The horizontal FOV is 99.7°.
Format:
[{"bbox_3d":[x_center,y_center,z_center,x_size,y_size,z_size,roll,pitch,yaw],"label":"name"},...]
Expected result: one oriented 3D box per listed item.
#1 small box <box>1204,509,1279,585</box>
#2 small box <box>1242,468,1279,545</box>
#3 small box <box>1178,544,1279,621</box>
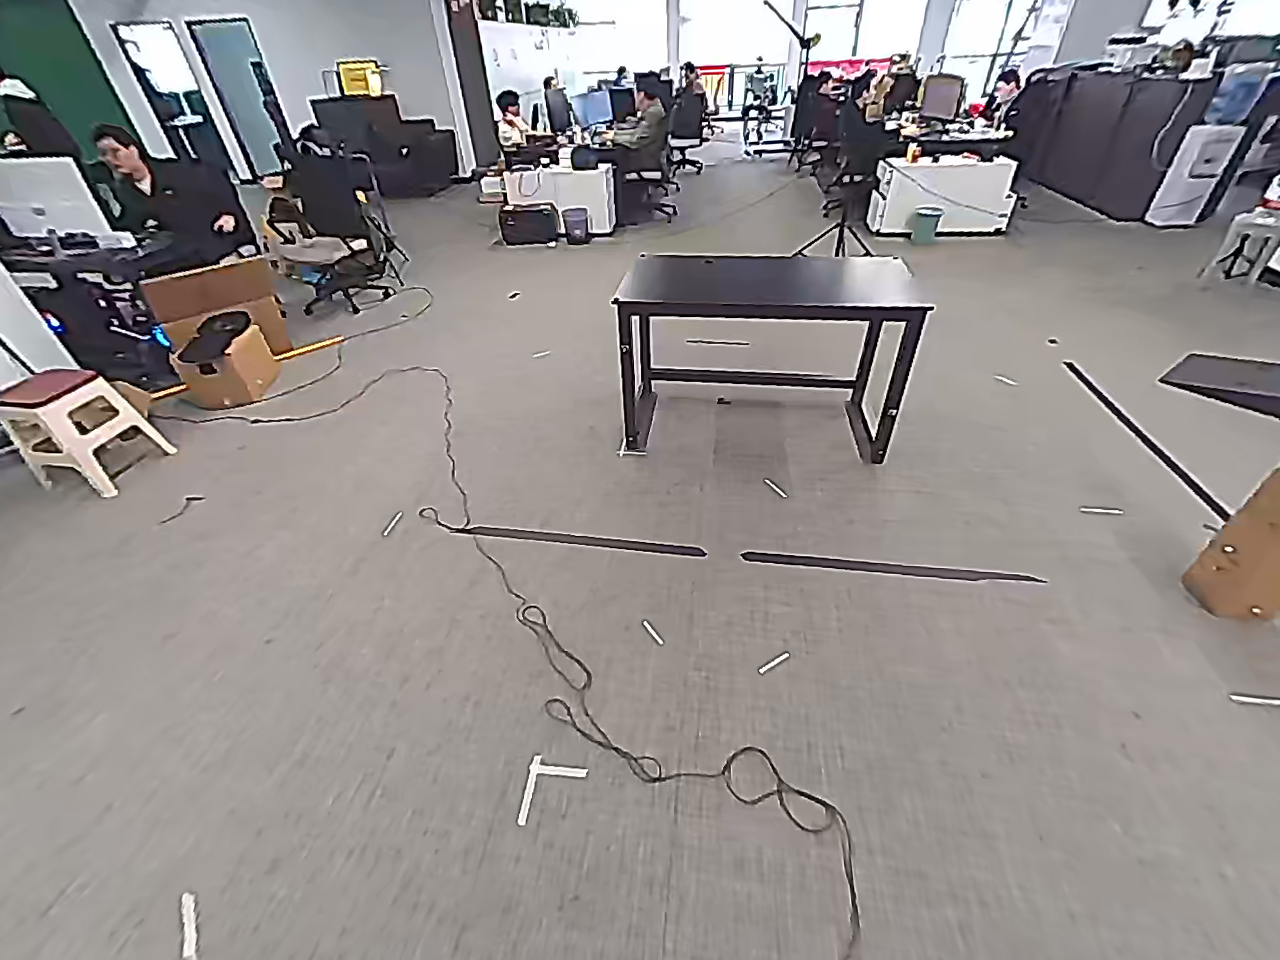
[{"bbox_3d":[1.932,0.209,1.670,0.179,0.176,0.168,3,39,9],"label":"small box"},{"bbox_3d":[1.926,0.084,1.566,0.179,0.176,0.168,3,40,7],"label":"small box"},{"bbox_3d":[1.945,0.336,1.774,0.168,0.176,0.179,3,40,9],"label":"small box"}]
